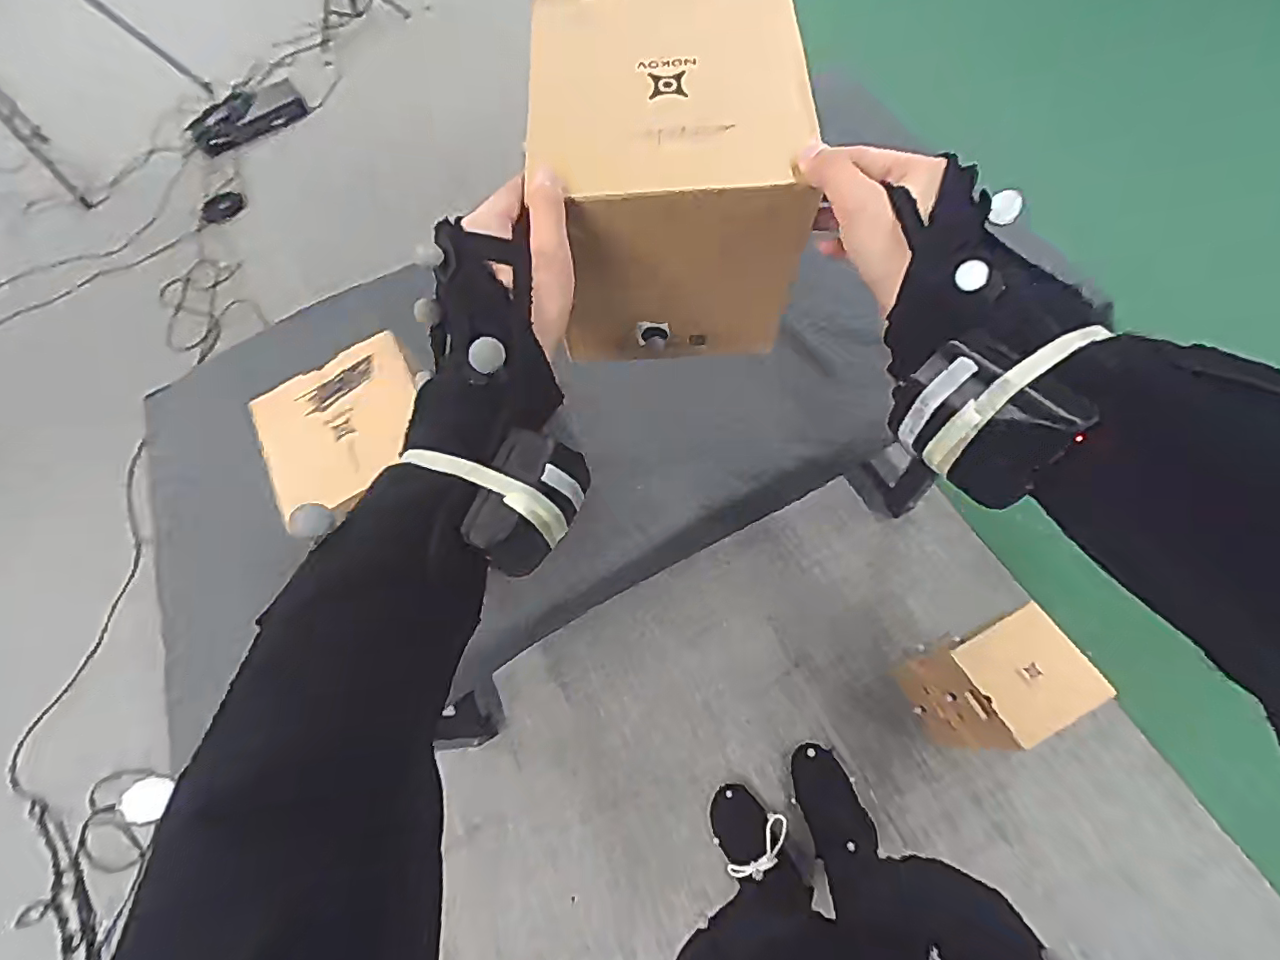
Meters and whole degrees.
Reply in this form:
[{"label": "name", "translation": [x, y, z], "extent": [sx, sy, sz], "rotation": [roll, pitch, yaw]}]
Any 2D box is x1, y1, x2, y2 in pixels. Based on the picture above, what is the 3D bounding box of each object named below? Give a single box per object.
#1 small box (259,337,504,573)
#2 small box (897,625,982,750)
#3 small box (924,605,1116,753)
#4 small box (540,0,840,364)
[{"label": "small box", "translation": [-0.284, -0.020, 0.621], "extent": [0.168, 0.176, 0.179], "rotation": [-31, 65, -5]}, {"label": "small box", "translation": [0.638, 0.415, 1.072], "extent": [0.179, 0.176, 0.168], "rotation": [-29, 63, -4]}, {"label": "small box", "translation": [0.630, 0.340, 0.924], "extent": [0.179, 0.176, 0.168], "rotation": [-30, 64, -5]}, {"label": "small box", "translation": [0.029, -0.206, 0.396], "extent": [0.168, 0.176, 0.179], "rotation": [-2, 70, 3]}]
